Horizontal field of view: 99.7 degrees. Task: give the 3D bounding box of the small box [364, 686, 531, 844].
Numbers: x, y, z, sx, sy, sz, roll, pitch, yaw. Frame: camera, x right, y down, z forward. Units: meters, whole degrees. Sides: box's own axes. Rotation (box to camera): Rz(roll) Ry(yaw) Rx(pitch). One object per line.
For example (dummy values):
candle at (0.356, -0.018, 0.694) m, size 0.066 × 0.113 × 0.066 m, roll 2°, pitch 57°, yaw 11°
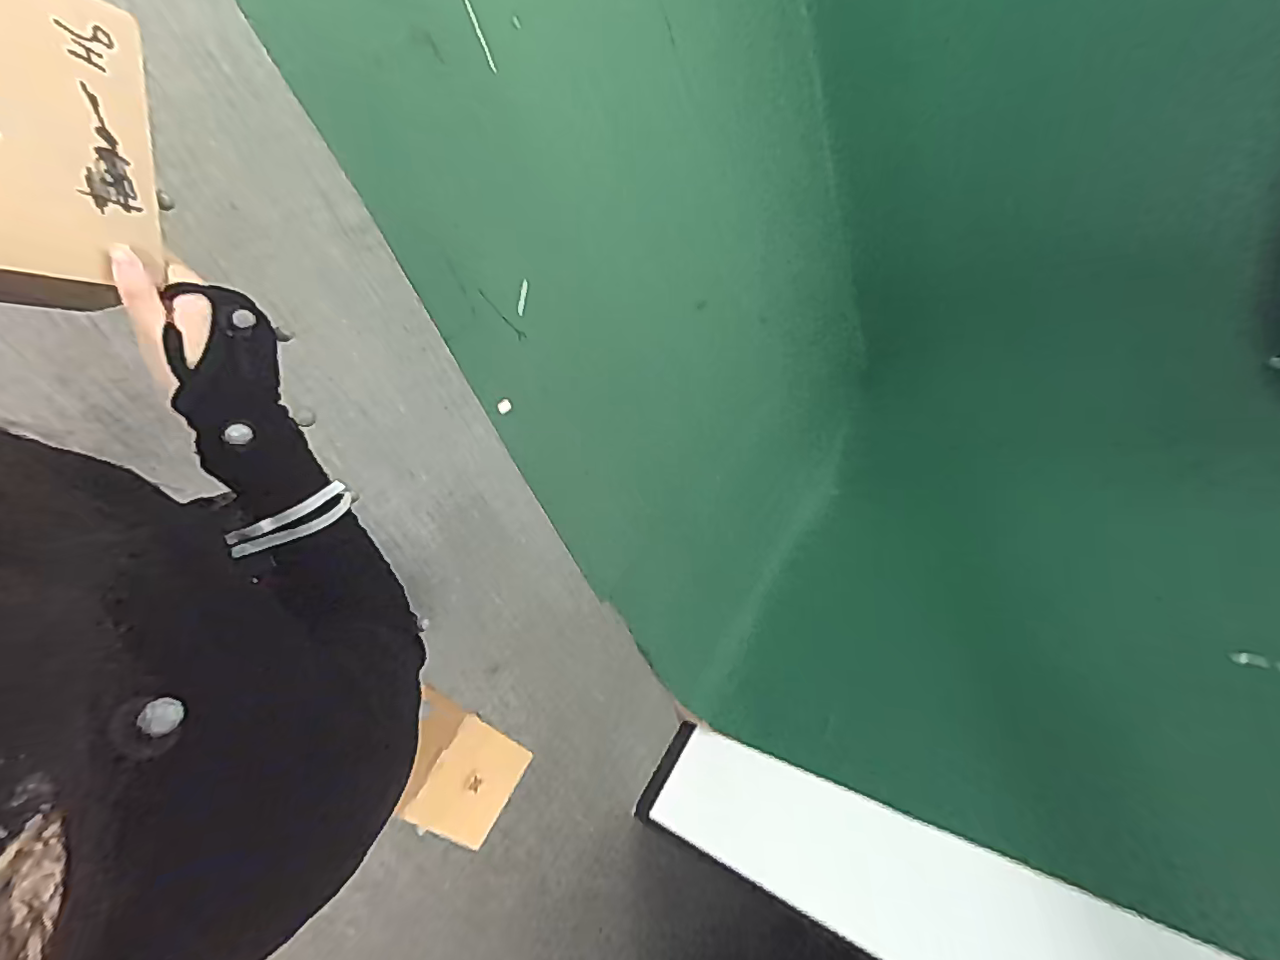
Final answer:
small box at (-0.334, 0.487, 0.943) m, size 0.179 × 0.176 × 0.168 m, roll 54°, pitch 55°, yaw -34°
